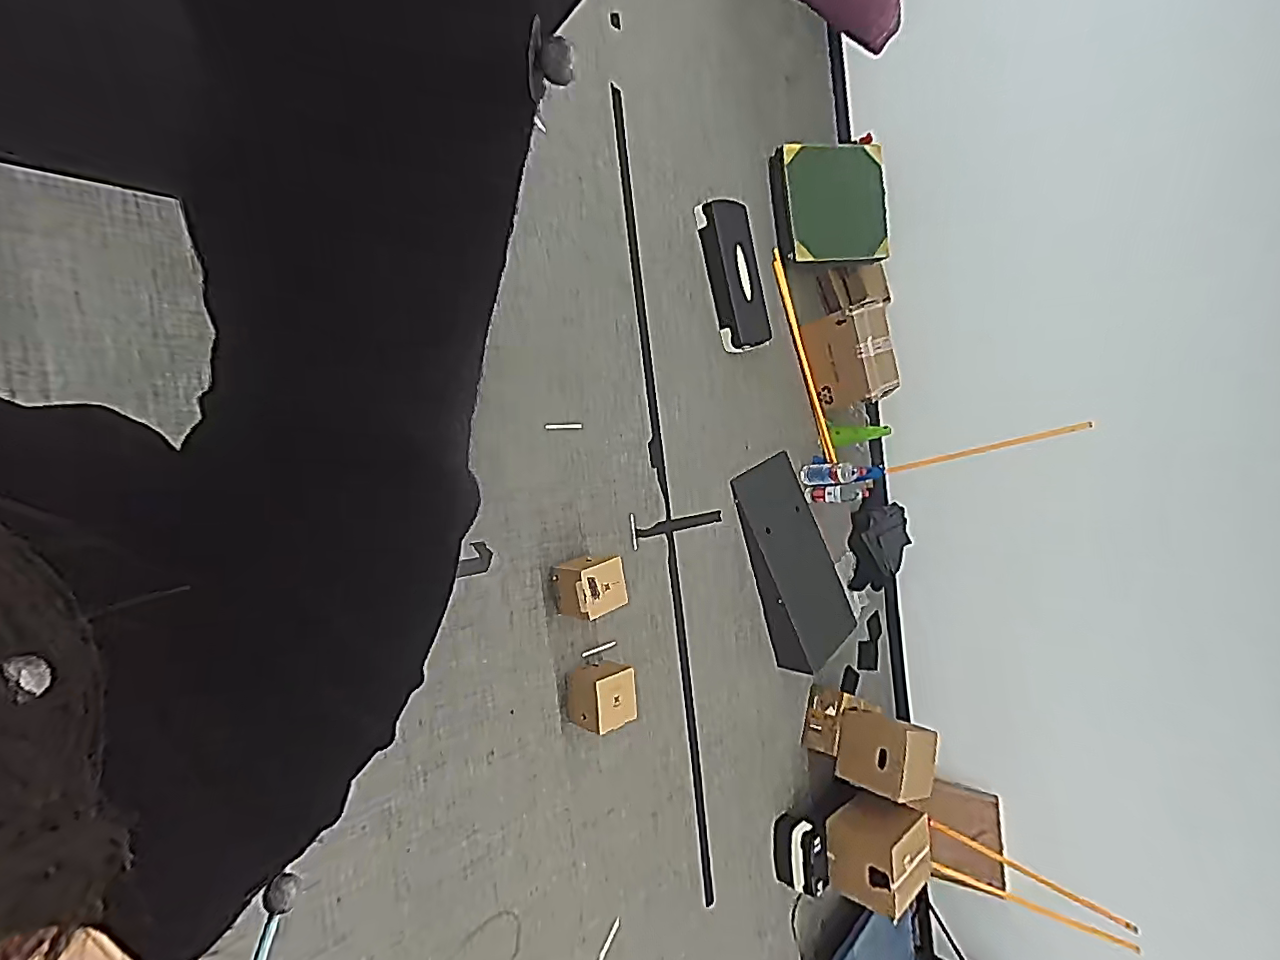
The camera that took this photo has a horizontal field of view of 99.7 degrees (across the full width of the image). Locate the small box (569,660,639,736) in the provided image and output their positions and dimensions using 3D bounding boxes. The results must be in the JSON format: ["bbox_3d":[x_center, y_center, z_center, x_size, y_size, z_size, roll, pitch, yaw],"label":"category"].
[{"bbox_3d":[-0.122,0.726,1.818,0.168,0.176,0.179,-4,89,-43],"label":"small box"}]

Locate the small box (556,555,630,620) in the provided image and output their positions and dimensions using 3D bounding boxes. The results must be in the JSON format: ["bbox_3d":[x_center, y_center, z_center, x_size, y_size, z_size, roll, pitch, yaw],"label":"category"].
[{"bbox_3d":[-0.164,0.353,1.804,0.179,0.176,0.168,-15,98,-43],"label":"small box"}]
